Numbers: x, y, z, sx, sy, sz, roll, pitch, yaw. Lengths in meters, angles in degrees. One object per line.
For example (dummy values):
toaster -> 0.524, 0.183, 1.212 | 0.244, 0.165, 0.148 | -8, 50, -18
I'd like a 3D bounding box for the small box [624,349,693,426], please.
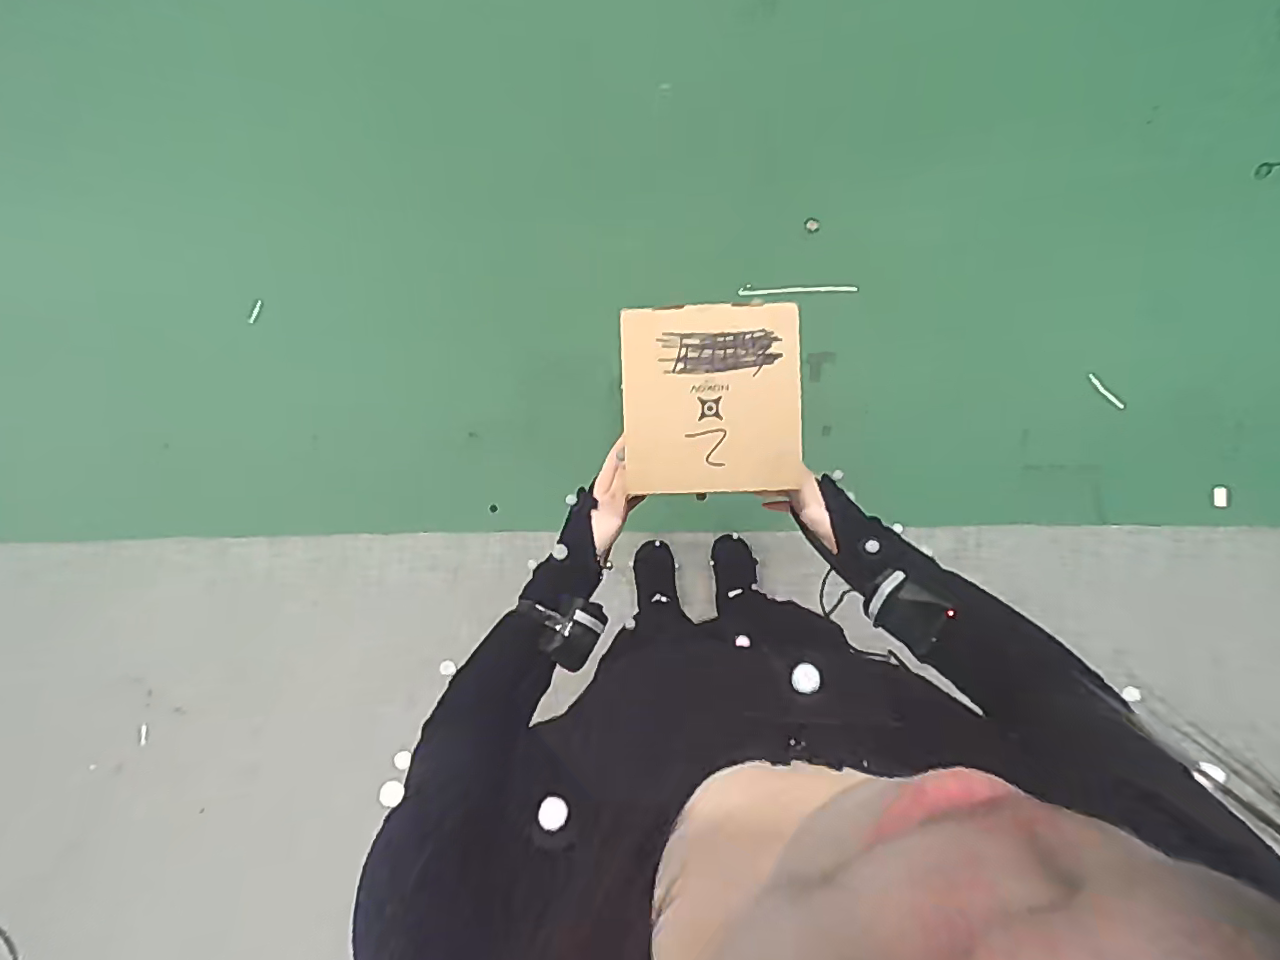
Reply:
small box -> 0.053, -0.236, 1.424 | 0.168, 0.176, 0.179 | -2, 88, 7
